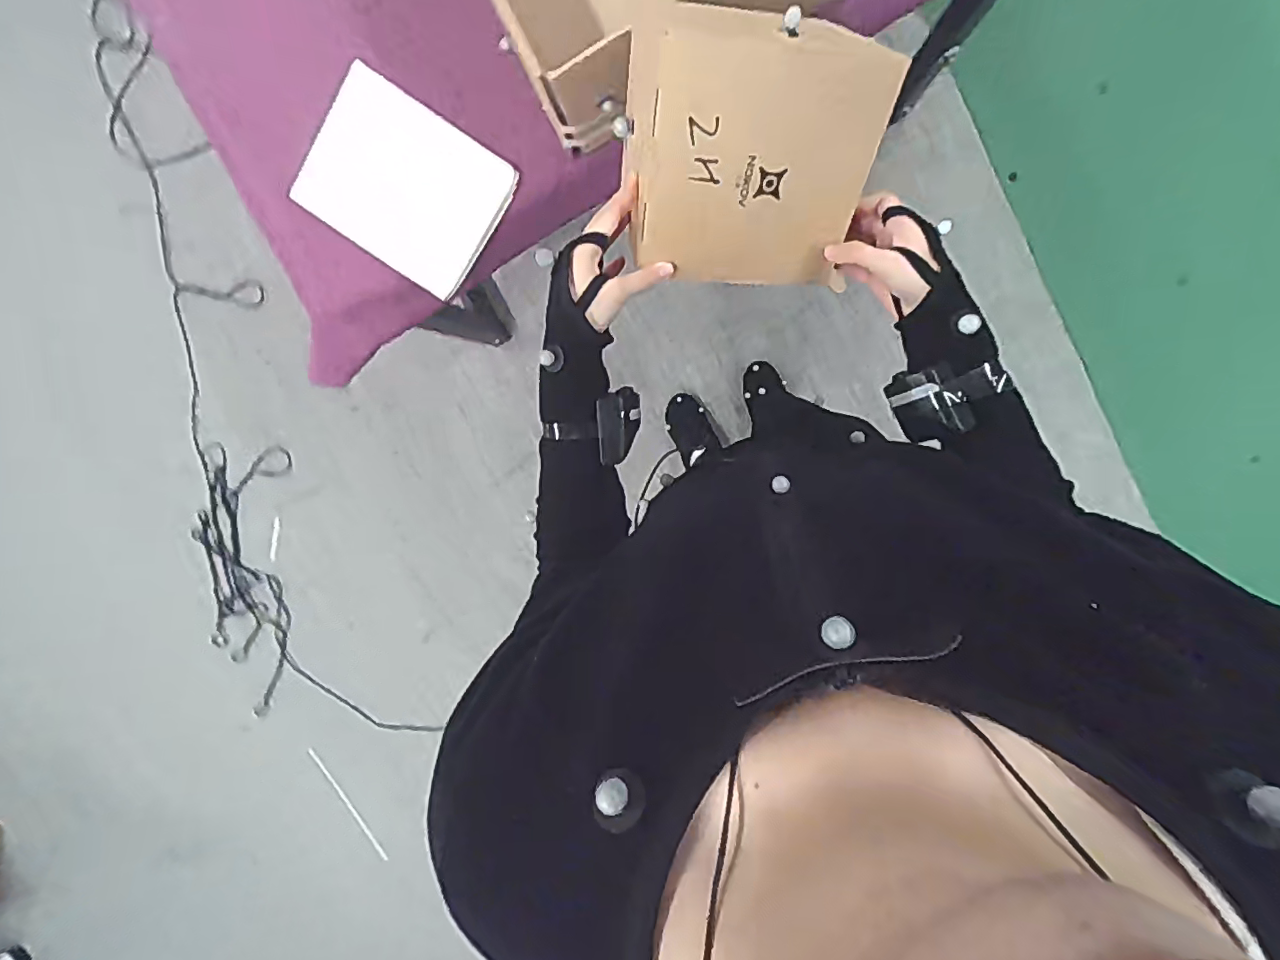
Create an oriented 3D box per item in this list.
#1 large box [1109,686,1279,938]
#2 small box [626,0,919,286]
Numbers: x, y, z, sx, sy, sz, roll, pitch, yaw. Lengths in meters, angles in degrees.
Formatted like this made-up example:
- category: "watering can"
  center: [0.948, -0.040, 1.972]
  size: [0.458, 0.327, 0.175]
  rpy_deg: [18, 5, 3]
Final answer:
- category: "large box"
  center: [1.522, 0.803, 1.326]
  size: [0.408, 0.320, 0.320]
  rpy_deg: [-43, 93, 8]
- category: "small box"
  center: [0.088, -0.287, 0.464]
  size: [0.179, 0.176, 0.168]
  rpy_deg: [1, 136, -9]
